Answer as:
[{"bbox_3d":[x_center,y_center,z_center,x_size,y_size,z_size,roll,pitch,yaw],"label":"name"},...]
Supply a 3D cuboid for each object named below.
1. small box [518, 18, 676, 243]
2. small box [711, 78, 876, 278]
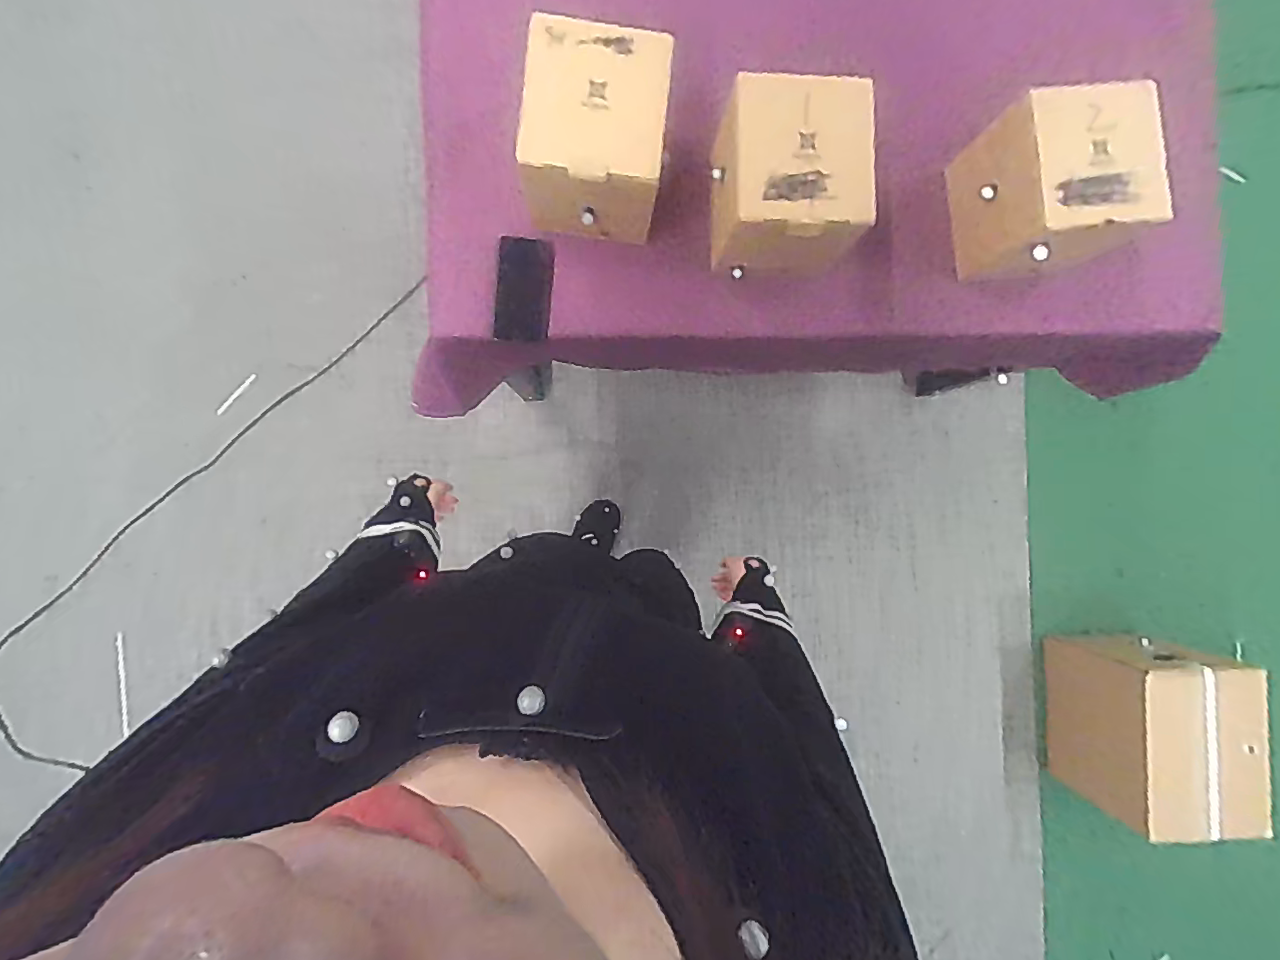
[{"bbox_3d":[-0.053,-0.431,0.698,0.168,0.176,0.179,7,90,-4],"label":"small box"},{"bbox_3d":[0.191,-0.381,0.713,0.168,0.176,0.179,0,89,-4],"label":"small box"}]
